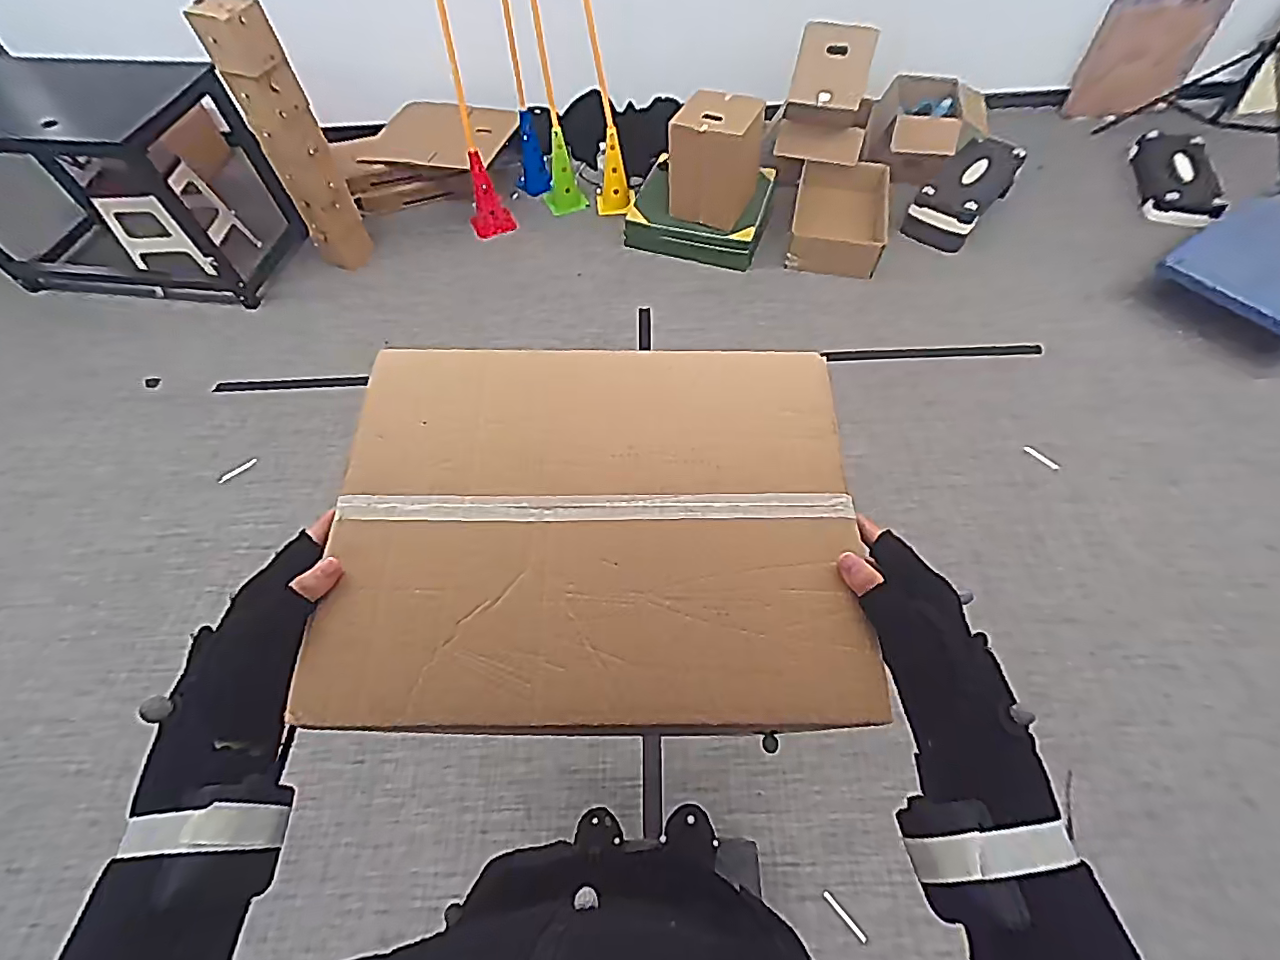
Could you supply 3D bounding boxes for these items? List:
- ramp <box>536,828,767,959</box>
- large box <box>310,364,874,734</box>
[{"bbox_3d":[0.031,1.258,1.043,0.509,0.206,0.991,-3,59,-1],"label":"ramp"},{"bbox_3d":[-0.034,0.095,0.574,0.408,0.320,0.320,0,64,-1],"label":"large box"}]
